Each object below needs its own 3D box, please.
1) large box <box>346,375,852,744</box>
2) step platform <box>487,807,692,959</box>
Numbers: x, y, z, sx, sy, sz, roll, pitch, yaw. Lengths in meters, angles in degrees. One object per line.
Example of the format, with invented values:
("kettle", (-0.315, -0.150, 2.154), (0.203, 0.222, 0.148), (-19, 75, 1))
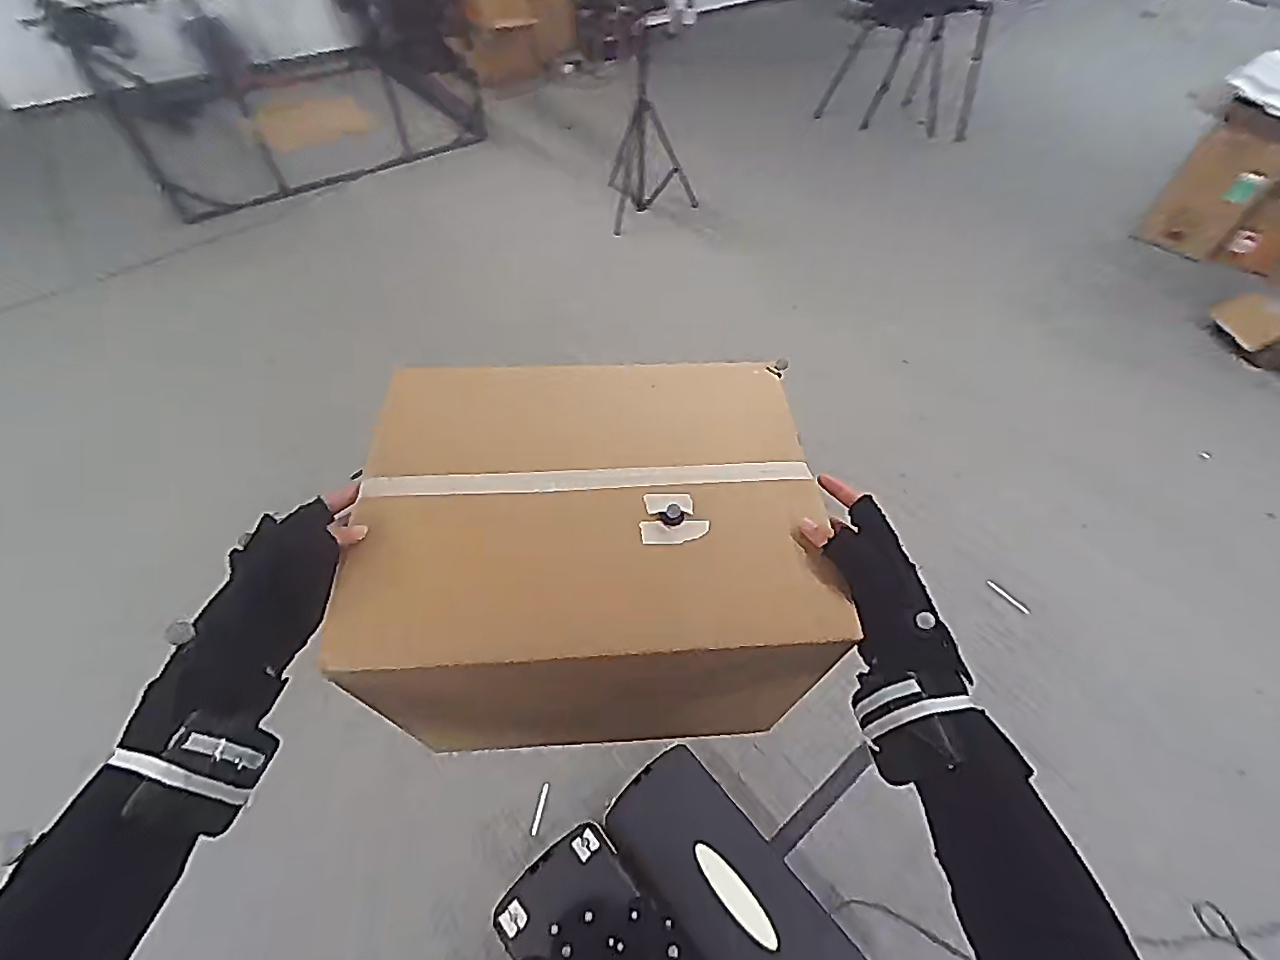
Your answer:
("large box", (-0.043, 0.097, 0.624), (0.408, 0.320, 0.320), (-1, 54, -4))
("step platform", (-0.037, 1.079, 1.150), (0.286, 0.204, 0.684), (-35, 59, -24))
